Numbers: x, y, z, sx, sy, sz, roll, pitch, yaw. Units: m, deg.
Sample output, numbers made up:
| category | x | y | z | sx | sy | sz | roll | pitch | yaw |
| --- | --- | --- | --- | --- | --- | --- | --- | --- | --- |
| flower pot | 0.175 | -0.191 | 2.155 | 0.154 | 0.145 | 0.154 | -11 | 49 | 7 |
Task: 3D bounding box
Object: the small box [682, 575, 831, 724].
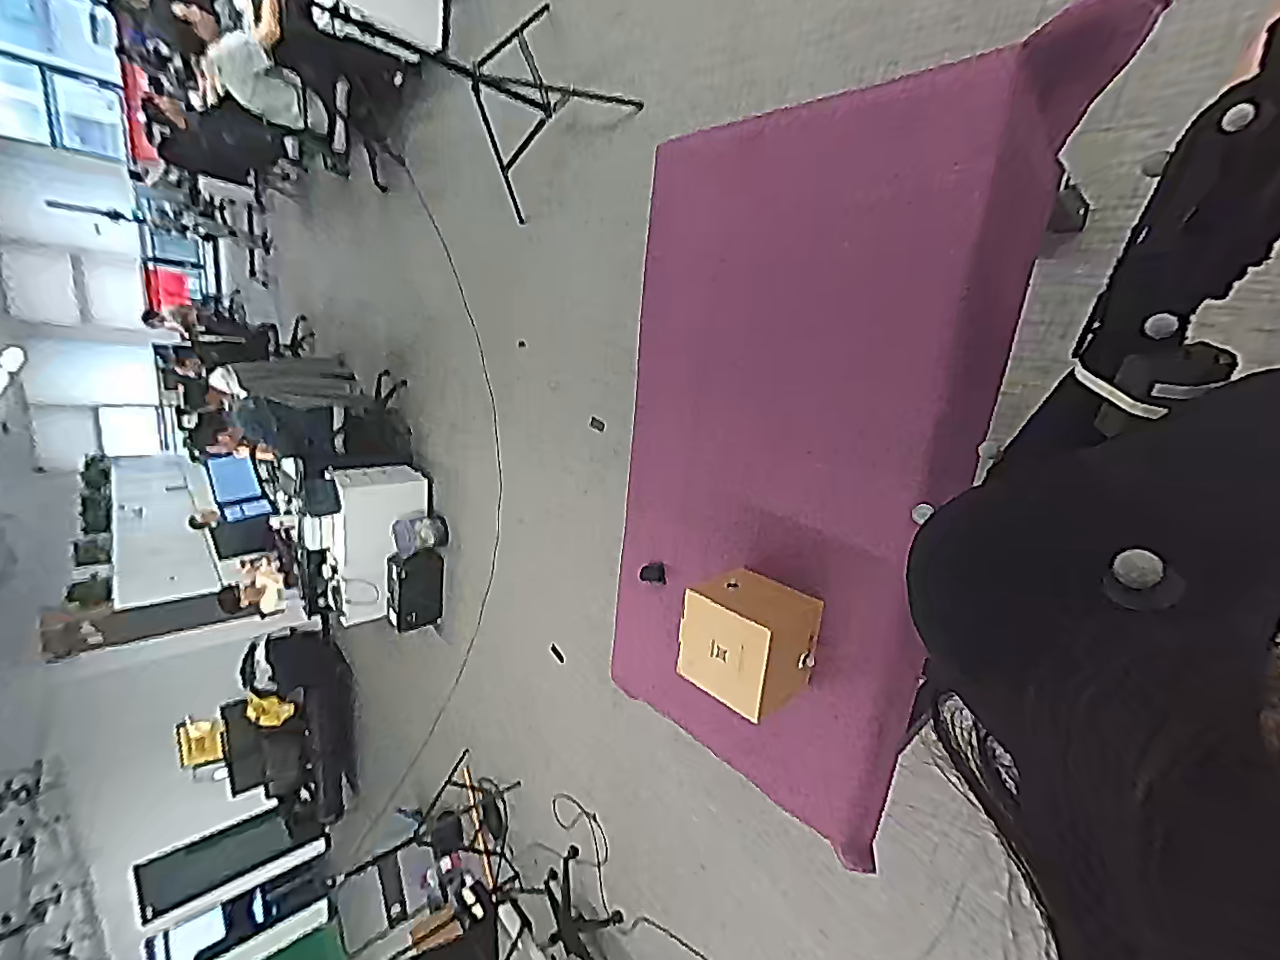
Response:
| category | x | y | z | sx | sy | sz | roll | pitch | yaw |
| --- | --- | --- | --- | --- | --- | --- | --- | --- | --- |
| small box | 0.198 | 0.275 | 0.930 | 0.179 | 0.176 | 0.168 | 17 | 109 | 44 |
